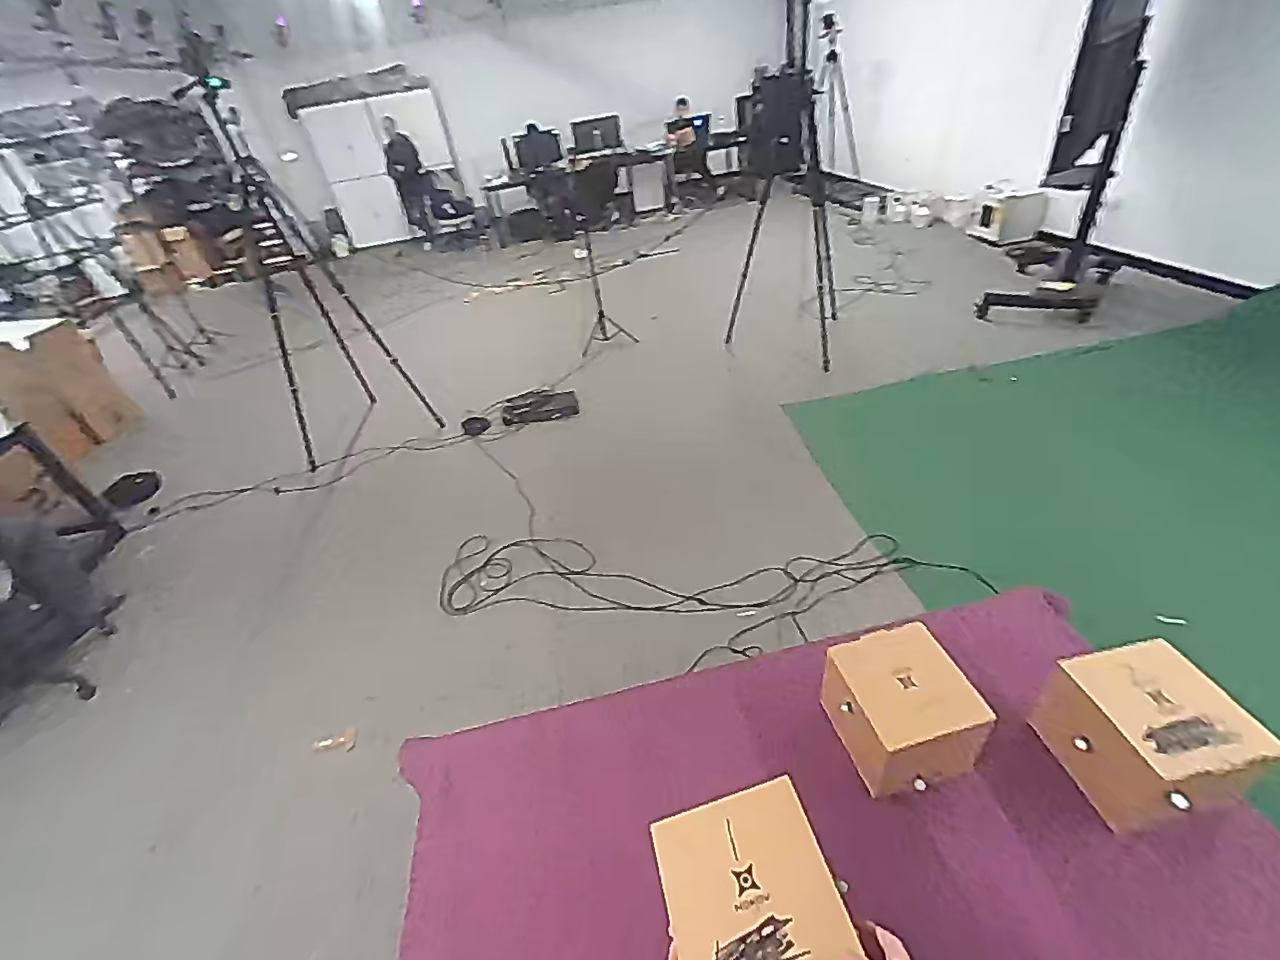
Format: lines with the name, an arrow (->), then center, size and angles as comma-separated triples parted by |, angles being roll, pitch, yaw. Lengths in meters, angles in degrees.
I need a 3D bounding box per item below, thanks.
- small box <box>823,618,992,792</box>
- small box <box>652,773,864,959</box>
small box -> 0.407, 0.357, 0.863 | 0.168, 0.176, 0.179 | -14, 38, -4
small box -> 0.126, 0.458, 0.578 | 0.168, 0.176, 0.179 | -18, 36, 0
